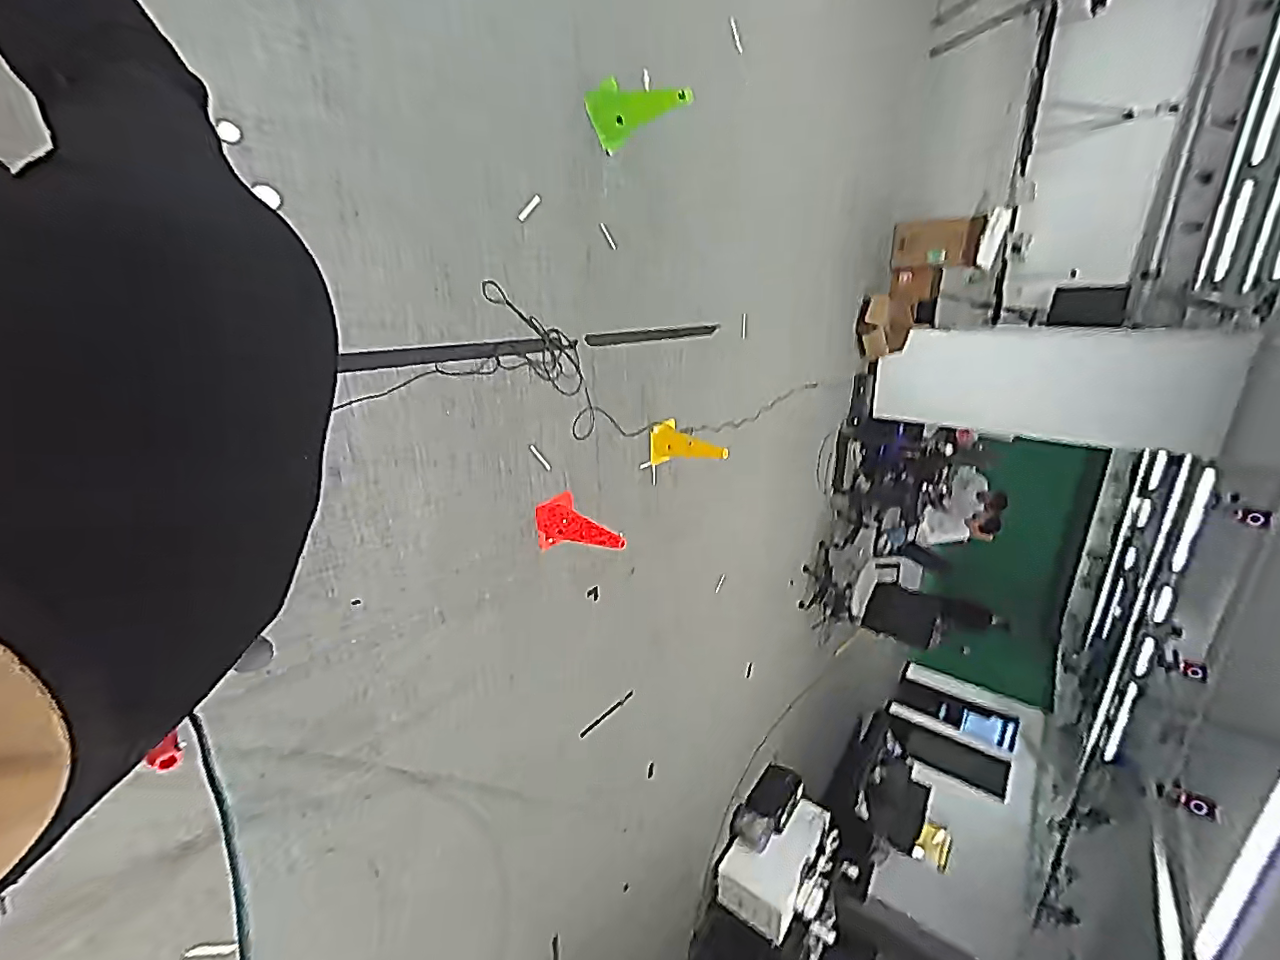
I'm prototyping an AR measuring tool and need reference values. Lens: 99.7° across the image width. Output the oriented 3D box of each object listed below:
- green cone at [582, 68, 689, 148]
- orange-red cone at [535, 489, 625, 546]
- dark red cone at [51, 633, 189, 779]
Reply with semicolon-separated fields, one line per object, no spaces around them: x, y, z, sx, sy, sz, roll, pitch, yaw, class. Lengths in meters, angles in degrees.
0.014;-1.326;1.872;0.200;0.368;0.202;-60;140;-23;green cone
-0.206;0.182;2.072;0.199;0.360;0.198;-28;124;-48;orange-red cone
-0.985;0.477;1.073;0.202;0.394;0.201;-16;113;-51;dark red cone
